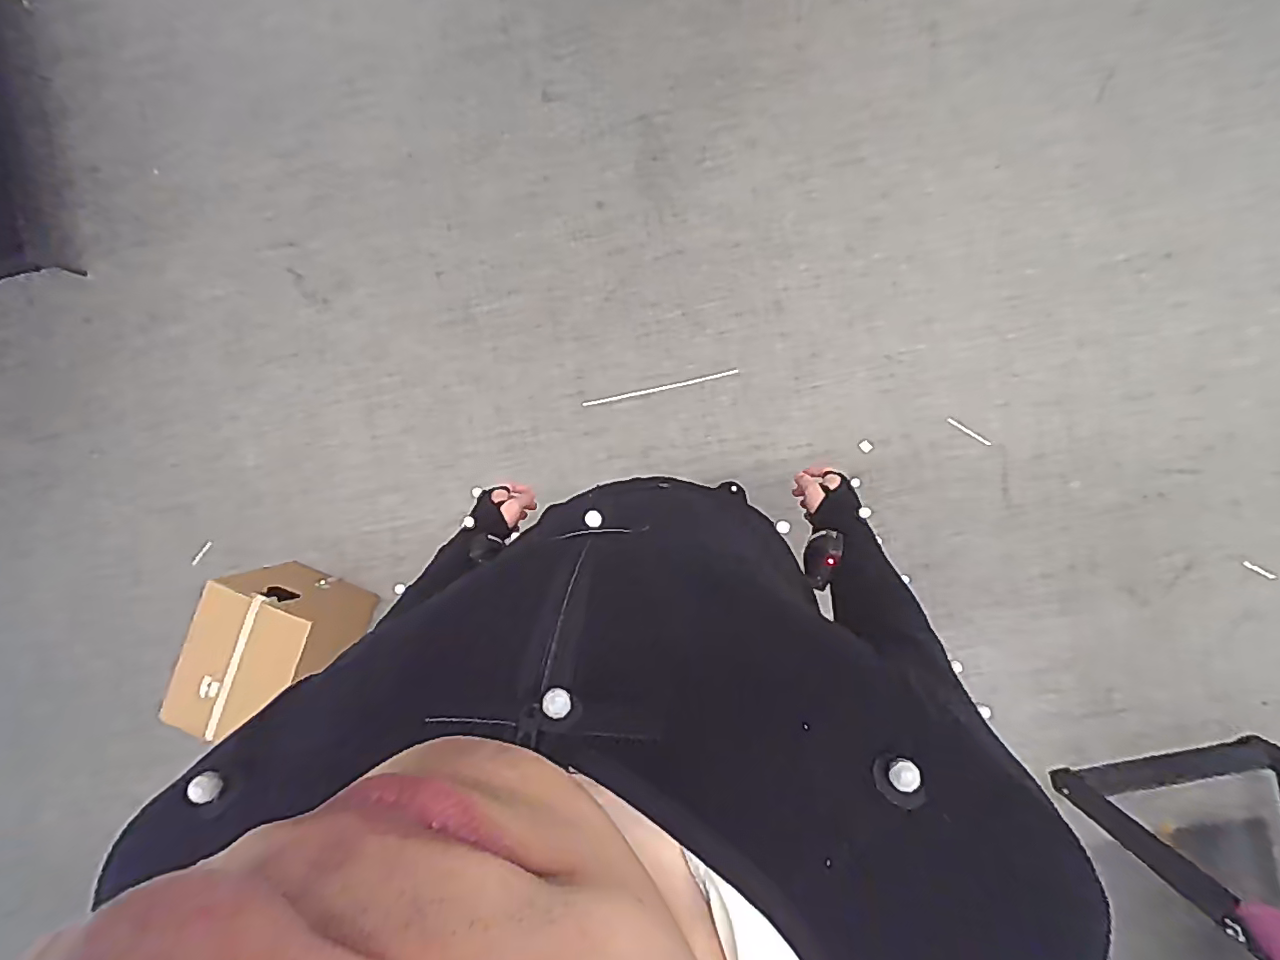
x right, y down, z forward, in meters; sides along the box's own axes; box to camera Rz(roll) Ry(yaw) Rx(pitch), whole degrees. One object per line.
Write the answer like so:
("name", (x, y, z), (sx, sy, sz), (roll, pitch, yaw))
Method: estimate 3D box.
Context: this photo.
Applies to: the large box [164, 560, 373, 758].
("large box", (-1.045, 0.489, 1.563), (0.320, 0.320, 0.408), (21, 93, 4))
